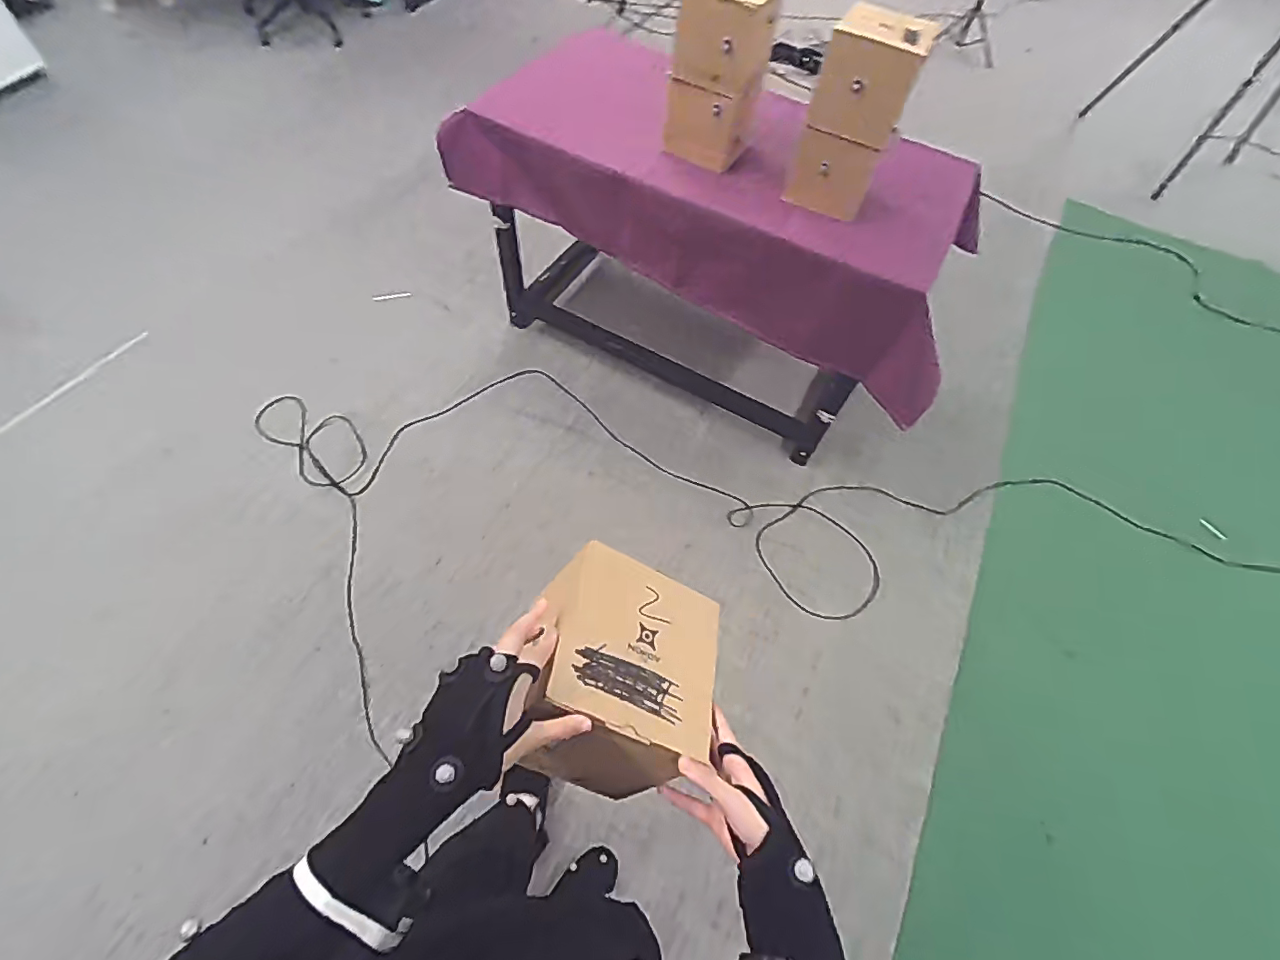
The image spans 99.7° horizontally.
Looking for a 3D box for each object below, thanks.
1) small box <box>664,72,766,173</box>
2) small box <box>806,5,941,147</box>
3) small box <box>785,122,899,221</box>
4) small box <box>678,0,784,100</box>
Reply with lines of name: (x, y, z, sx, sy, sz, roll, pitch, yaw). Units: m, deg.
small box: (0.173, -0.880, 1.305, 0.179, 0.176, 0.168, 29, 61, 11)
small box: (0.465, -0.808, 1.093, 0.179, 0.176, 0.168, 26, 60, 11)
small box: (0.454, -0.726, 1.235, 0.179, 0.176, 0.168, 25, 60, 10)
small box: (0.193, -0.959, 1.164, 0.168, 0.176, 0.179, 28, 60, 10)
